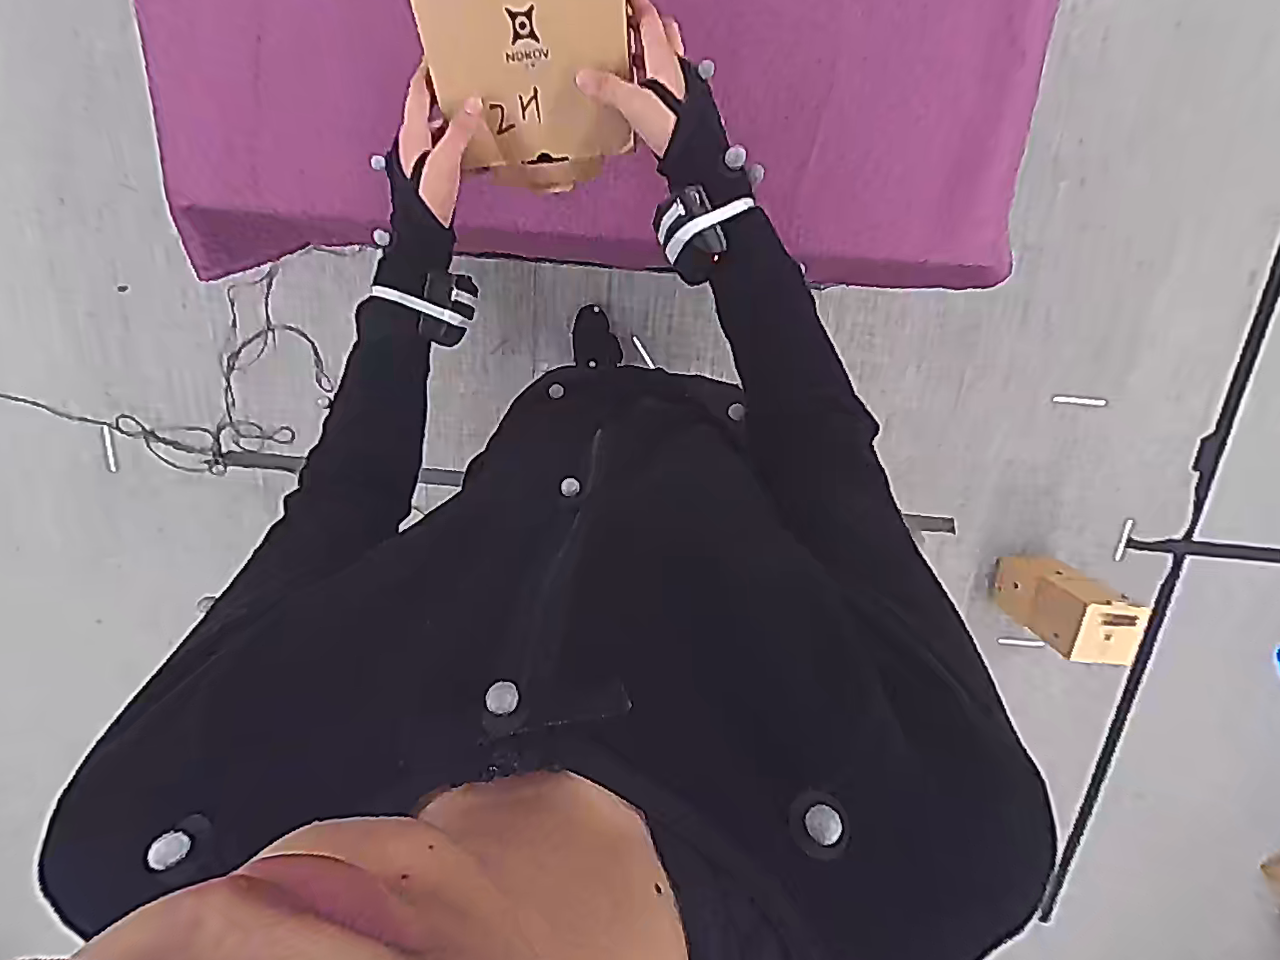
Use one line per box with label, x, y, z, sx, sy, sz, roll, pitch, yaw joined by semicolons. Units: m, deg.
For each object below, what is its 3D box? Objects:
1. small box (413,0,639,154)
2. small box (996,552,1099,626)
small box;-0.090;-0.410;0.478;0.168;0.176;0.179;-2;132;5
small box;1.228;0.327;1.646;0.179;0.176;0.168;1;106;0
